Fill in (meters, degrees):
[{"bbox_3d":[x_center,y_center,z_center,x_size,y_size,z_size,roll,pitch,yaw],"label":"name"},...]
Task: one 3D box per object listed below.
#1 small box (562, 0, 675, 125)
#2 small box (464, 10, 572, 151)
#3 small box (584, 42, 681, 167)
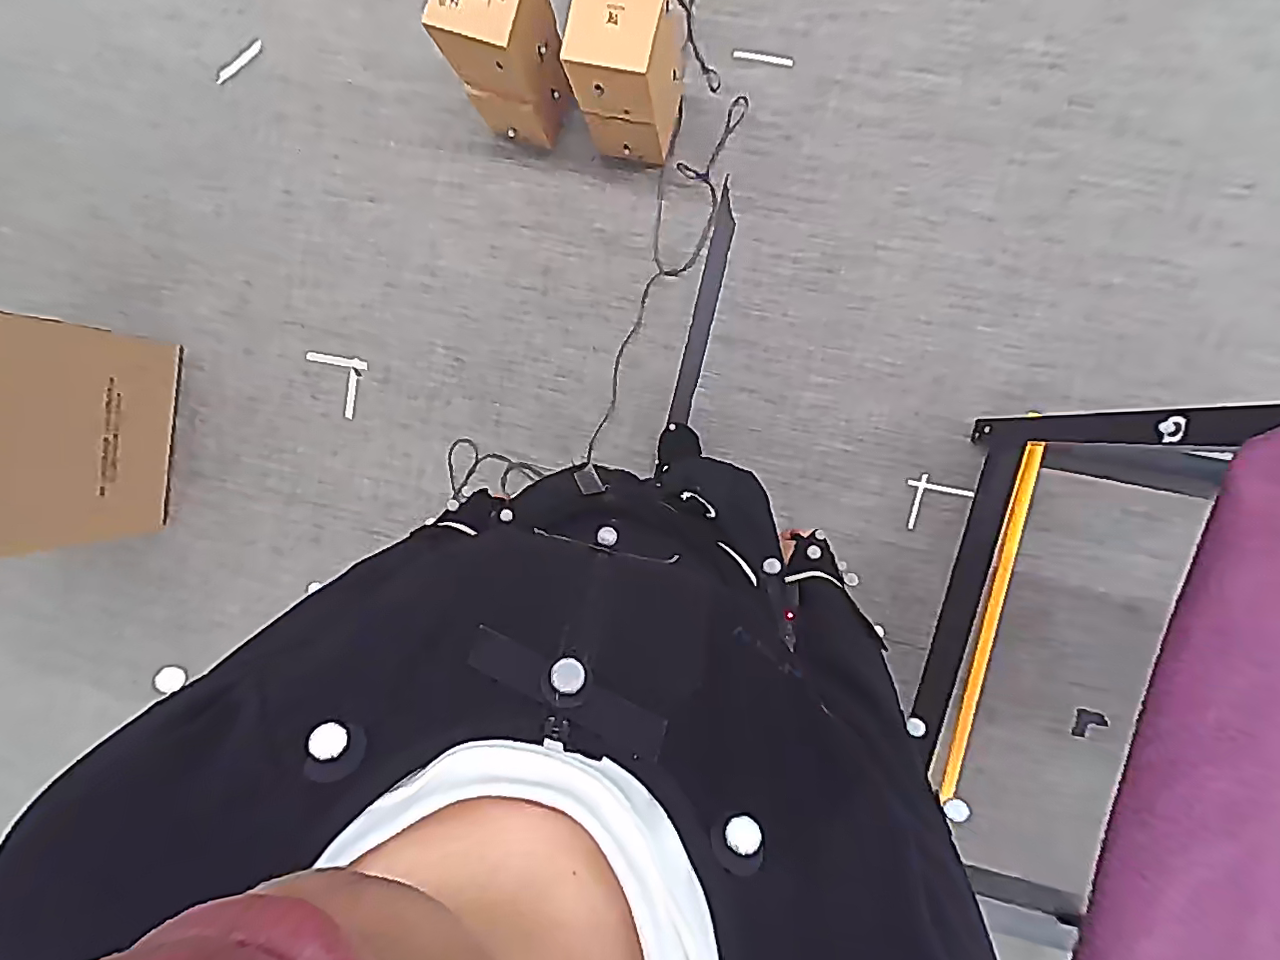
[{"bbox_3d":[-0.033,-0.823,1.037,0.168,0.176,0.179,15,95,7],"label":"small box"},{"bbox_3d":[-0.267,-0.893,1.224,0.168,0.176,0.179,20,98,5],"label":"small box"},{"bbox_3d":[-0.009,-0.835,1.197,0.168,0.176,0.179,15,97,7],"label":"small box"}]
